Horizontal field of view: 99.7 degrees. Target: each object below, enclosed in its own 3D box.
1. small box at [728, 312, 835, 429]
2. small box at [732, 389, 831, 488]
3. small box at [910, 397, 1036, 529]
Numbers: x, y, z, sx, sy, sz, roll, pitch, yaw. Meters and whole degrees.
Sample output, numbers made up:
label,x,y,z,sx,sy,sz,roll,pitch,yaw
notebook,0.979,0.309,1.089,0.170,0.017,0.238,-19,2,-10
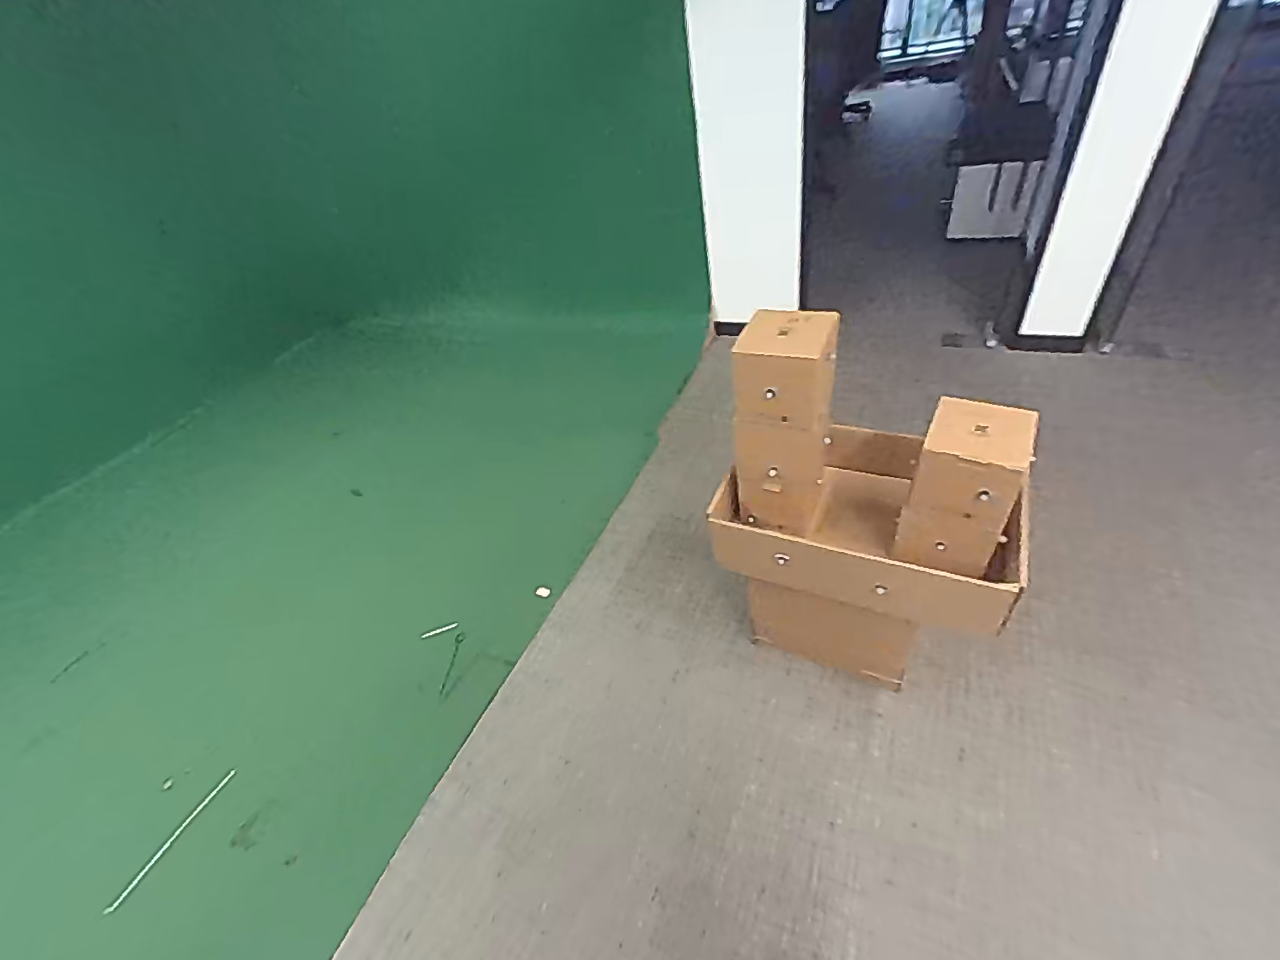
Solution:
label,x,y,z,sx,sy,sz,roll,pitch,yaw
small box,0.293,-0.224,1.105,0.168,0.176,0.179,12,47,26
small box,0.318,-0.102,1.215,0.179,0.176,0.168,11,47,25
small box,0.638,-0.032,1.049,0.168,0.176,0.179,17,49,29
